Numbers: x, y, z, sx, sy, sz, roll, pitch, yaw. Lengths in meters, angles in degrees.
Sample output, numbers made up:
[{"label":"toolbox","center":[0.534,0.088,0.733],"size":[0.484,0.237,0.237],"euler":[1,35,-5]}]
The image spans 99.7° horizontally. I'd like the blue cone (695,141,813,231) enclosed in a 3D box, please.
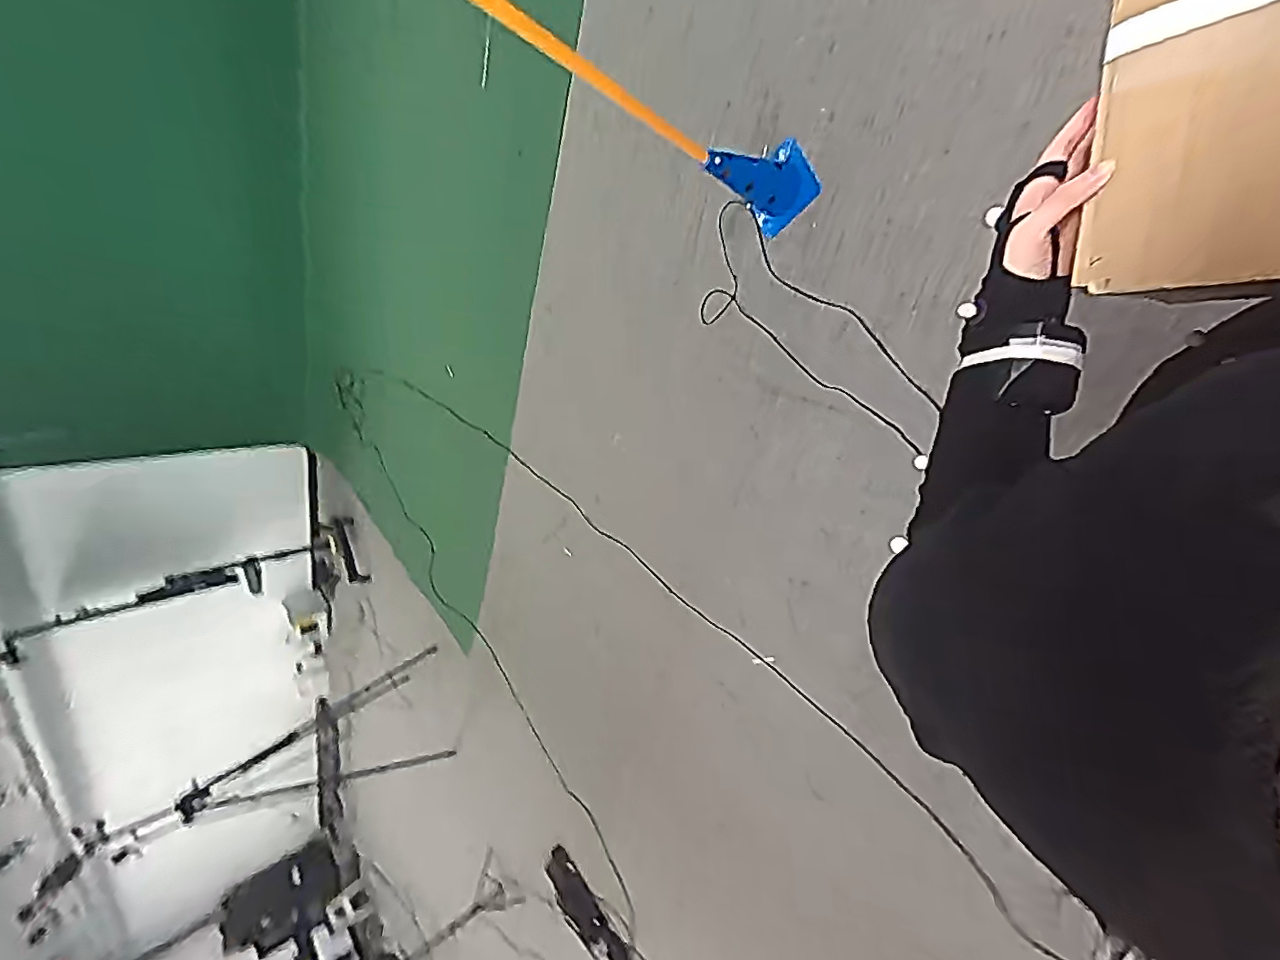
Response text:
[{"label":"blue cone","center":[0.270,-0.816,1.436],"size":[0.192,0.380,0.193],"euler":[-36,72,42]}]
